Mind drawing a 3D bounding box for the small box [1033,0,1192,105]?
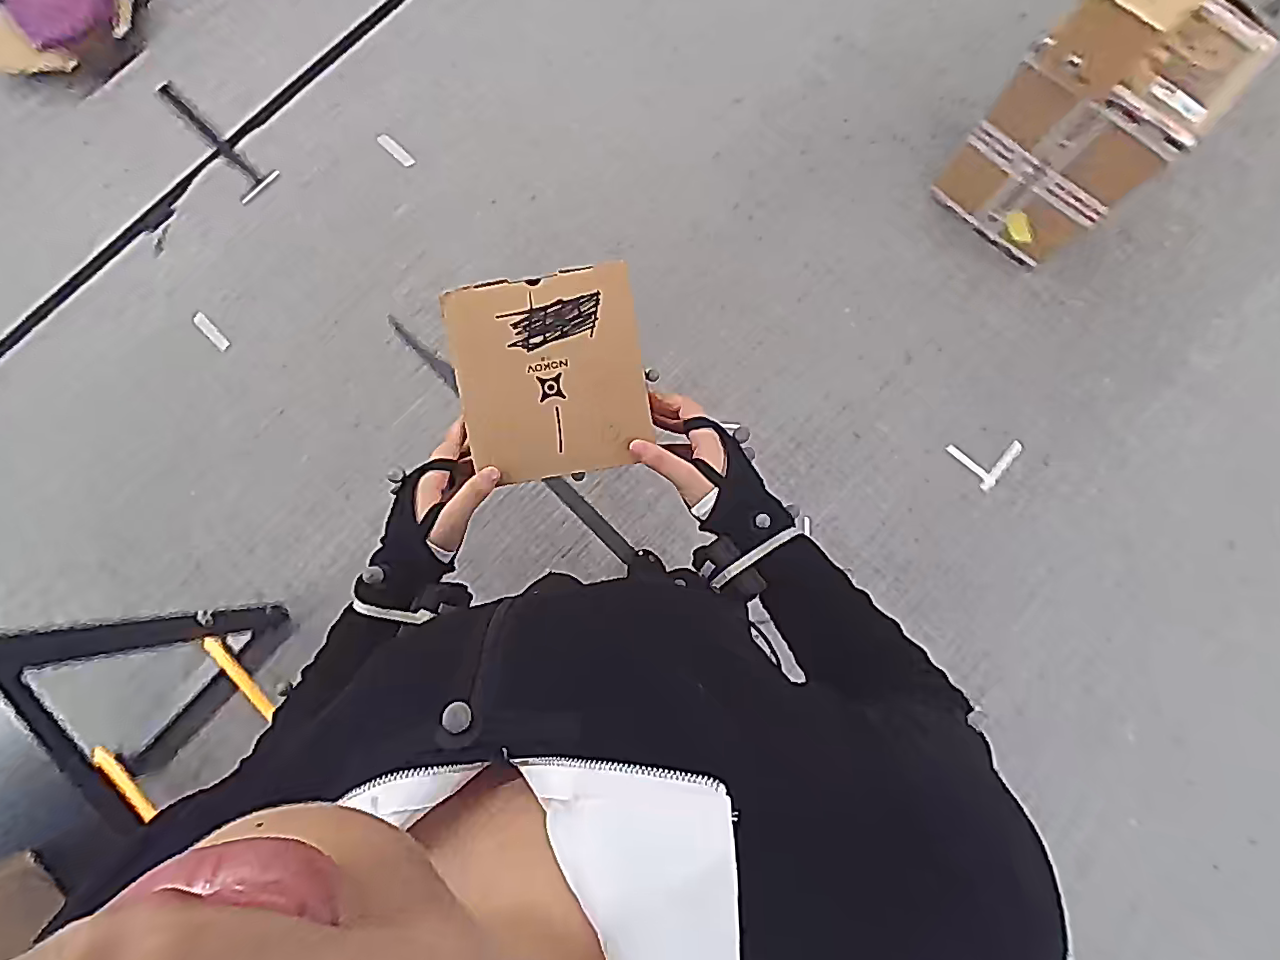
[{"bbox_3d":[0.960,-0.926,1.097,0.168,0.176,0.179,44,88,9],"label":"small box"}]

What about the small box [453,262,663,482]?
[{"bbox_3d":[-0.071,-0.101,0.552,0.168,0.176,0.179,-8,97,1],"label":"small box"}]
